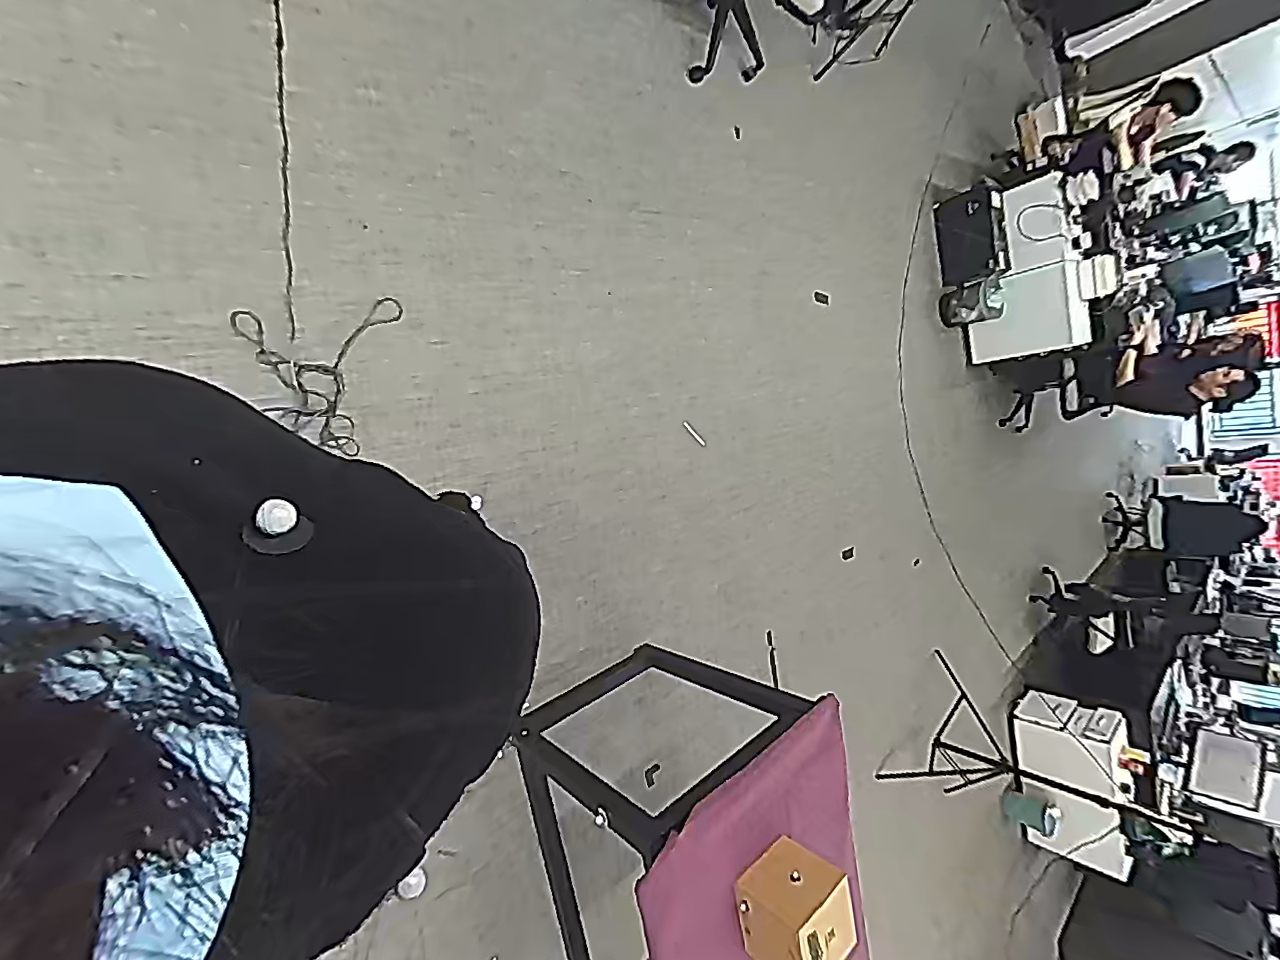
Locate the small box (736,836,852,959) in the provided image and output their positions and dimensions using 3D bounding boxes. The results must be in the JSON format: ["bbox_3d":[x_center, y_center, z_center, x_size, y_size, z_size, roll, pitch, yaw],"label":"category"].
[{"bbox_3d":[0.321,0.919,1.155,0.179,0.176,0.168,-16,99,-38],"label":"small box"}]
